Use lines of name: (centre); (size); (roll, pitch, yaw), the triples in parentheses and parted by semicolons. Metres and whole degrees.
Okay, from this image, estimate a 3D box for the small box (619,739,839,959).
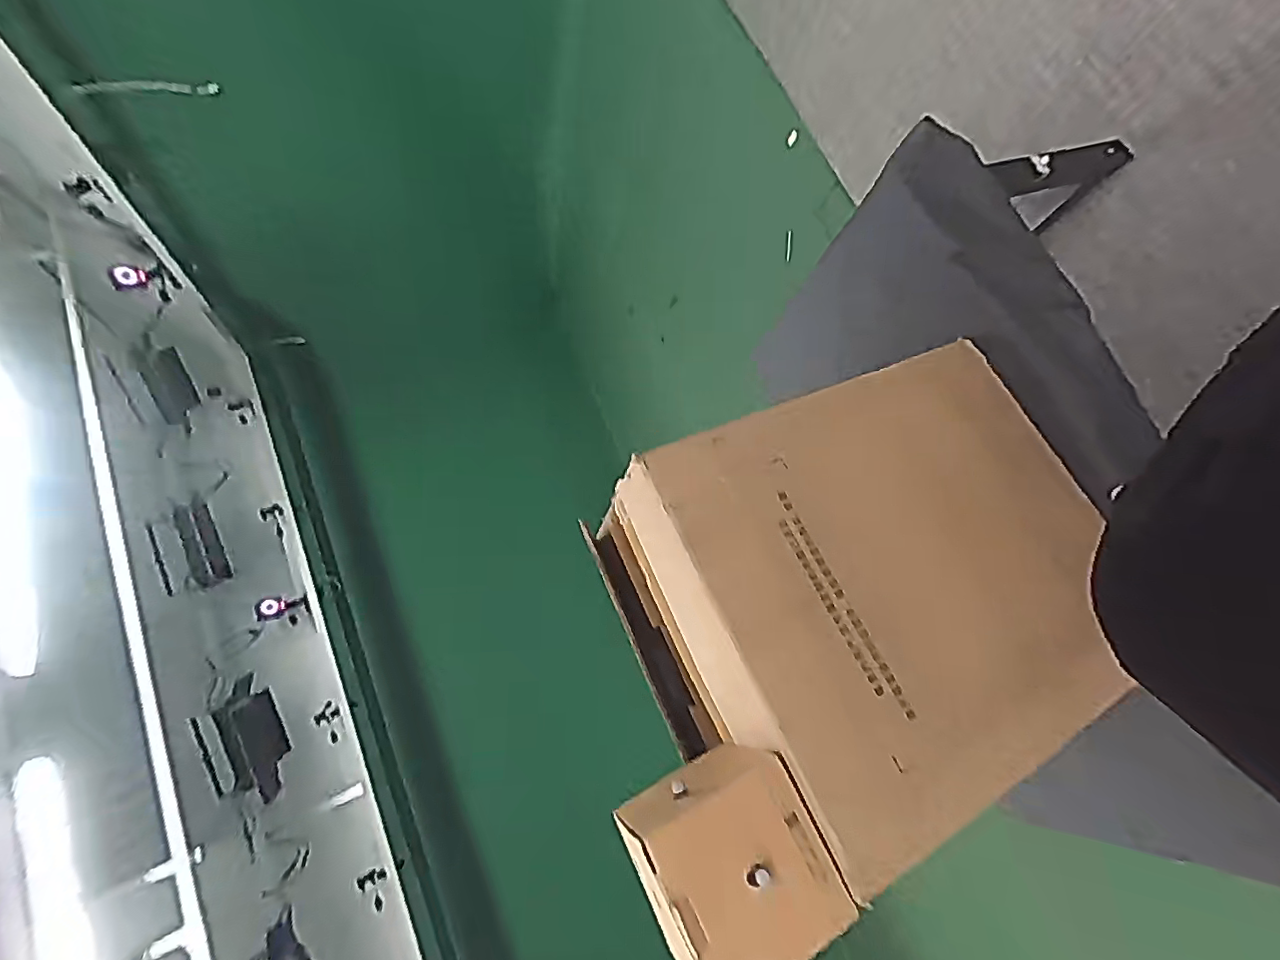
small box: (0.098, 0.420, 0.623); (0.168, 0.176, 0.179); (64, 159, 16)
